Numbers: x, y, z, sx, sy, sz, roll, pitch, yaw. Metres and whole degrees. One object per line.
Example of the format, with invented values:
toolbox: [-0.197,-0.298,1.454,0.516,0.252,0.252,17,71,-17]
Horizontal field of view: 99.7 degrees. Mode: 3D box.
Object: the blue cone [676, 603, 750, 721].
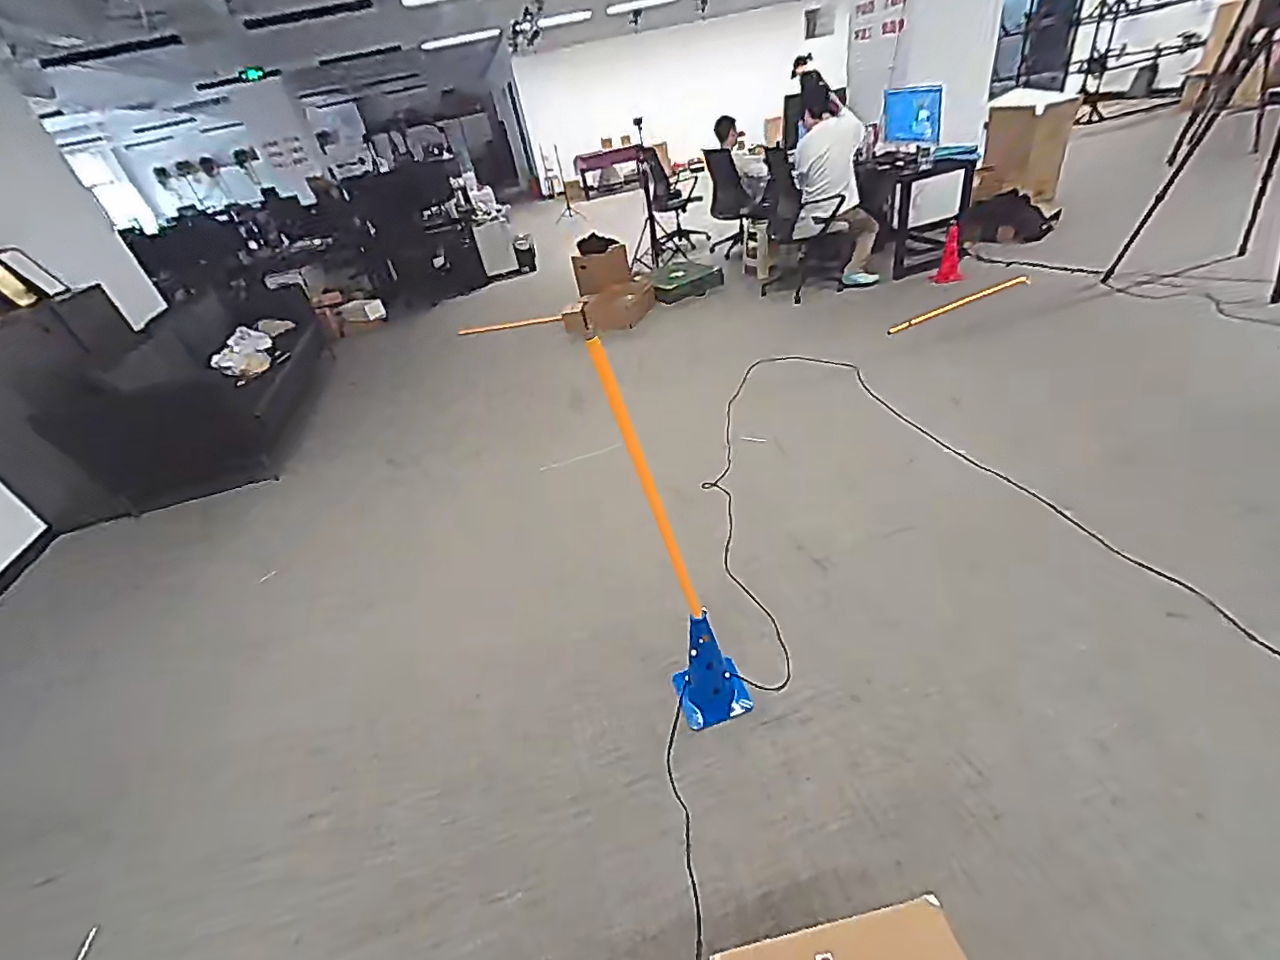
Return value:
blue cone: [0.187,0.495,1.543,0.193,0.380,0.192,-20,35,-8]
